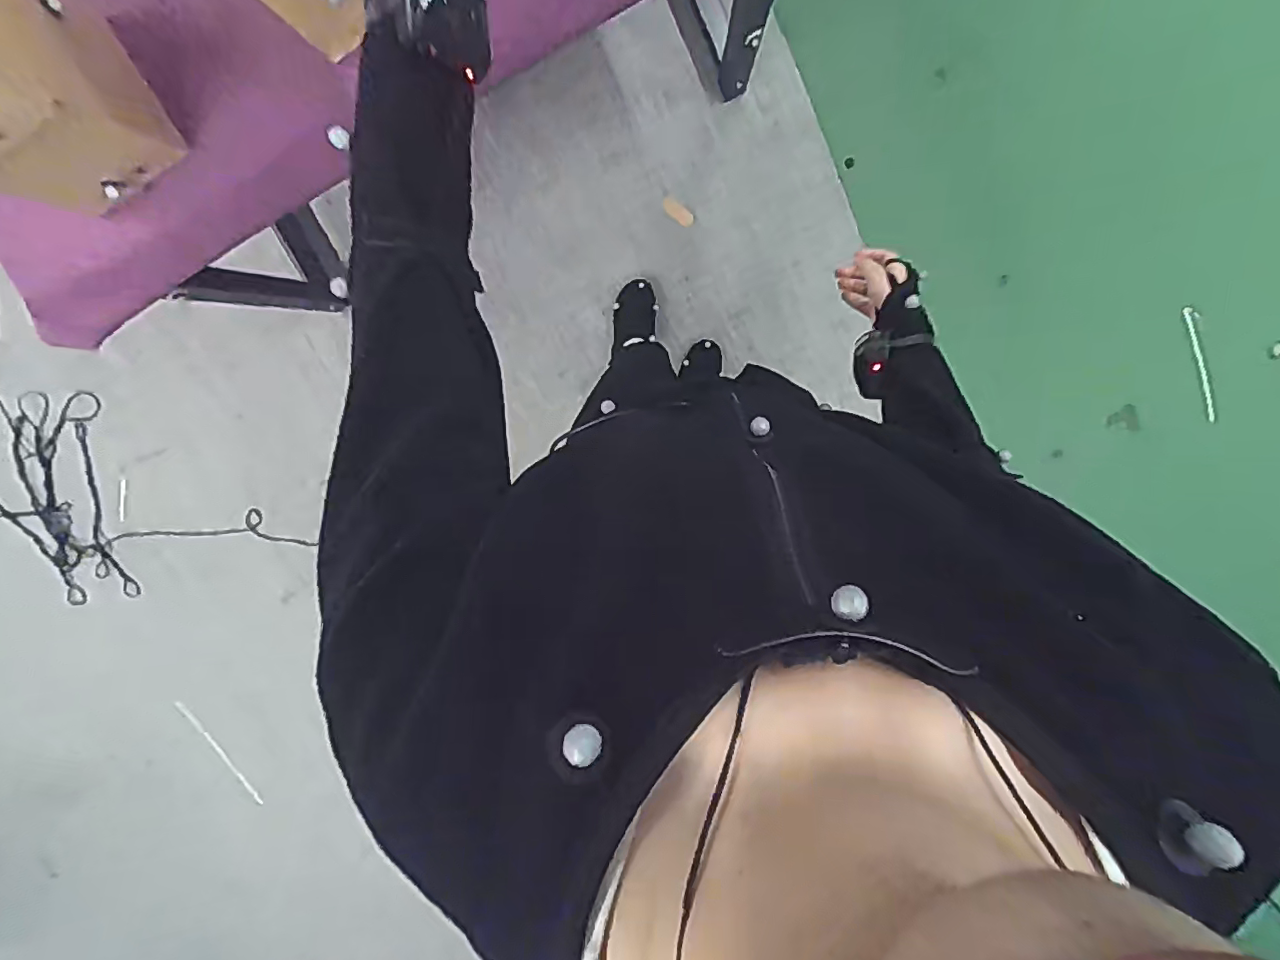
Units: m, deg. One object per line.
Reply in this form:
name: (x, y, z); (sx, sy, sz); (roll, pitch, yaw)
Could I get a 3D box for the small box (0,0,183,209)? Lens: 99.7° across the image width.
small box: (-0.696, -0.445, 0.615); (0.168, 0.176, 0.179); (-26, 102, 9)

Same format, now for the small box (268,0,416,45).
small box: (-0.346, -0.605, 0.559); (0.168, 0.176, 0.179); (-27, 100, 9)
